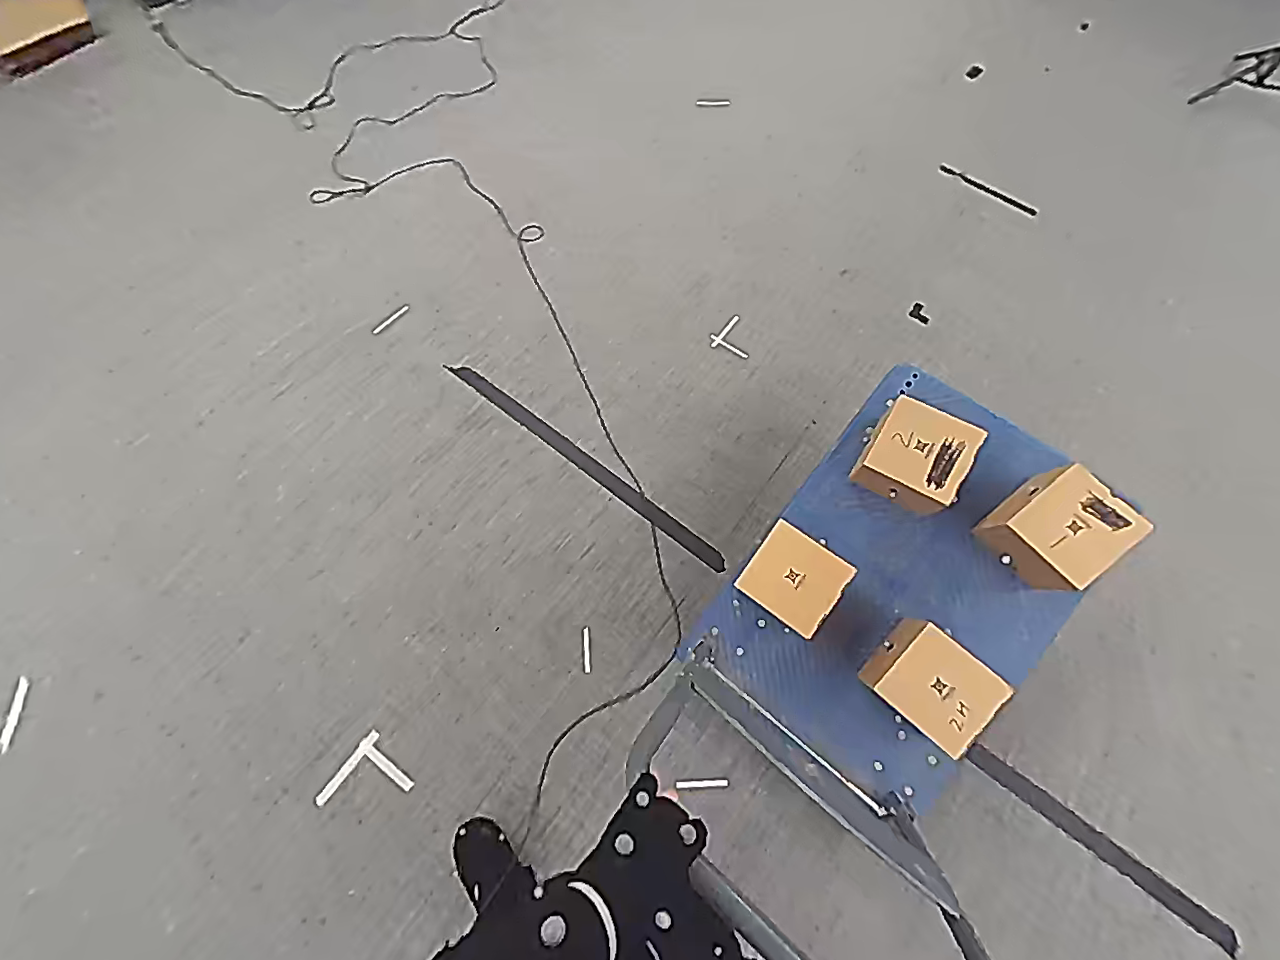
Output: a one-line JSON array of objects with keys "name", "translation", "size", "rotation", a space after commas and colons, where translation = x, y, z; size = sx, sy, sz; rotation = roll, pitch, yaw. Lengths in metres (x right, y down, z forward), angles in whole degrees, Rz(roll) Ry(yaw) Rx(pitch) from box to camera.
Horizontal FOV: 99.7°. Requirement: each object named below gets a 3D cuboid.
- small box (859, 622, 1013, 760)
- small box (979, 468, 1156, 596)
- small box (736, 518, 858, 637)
[{"name": "small box", "translation": [0.553, 0.393, 1.043], "size": [0.179, 0.176, 0.168], "rotation": [42, 89, 15]}, {"name": "small box", "translation": [0.810, 0.105, 1.050], "size": [0.179, 0.176, 0.168], "rotation": [-41, 75, 2]}, {"name": "small box", "translation": [0.315, 0.203, 1.126], "size": [0.179, 0.176, 0.168], "rotation": [36, 87, 13]}]
